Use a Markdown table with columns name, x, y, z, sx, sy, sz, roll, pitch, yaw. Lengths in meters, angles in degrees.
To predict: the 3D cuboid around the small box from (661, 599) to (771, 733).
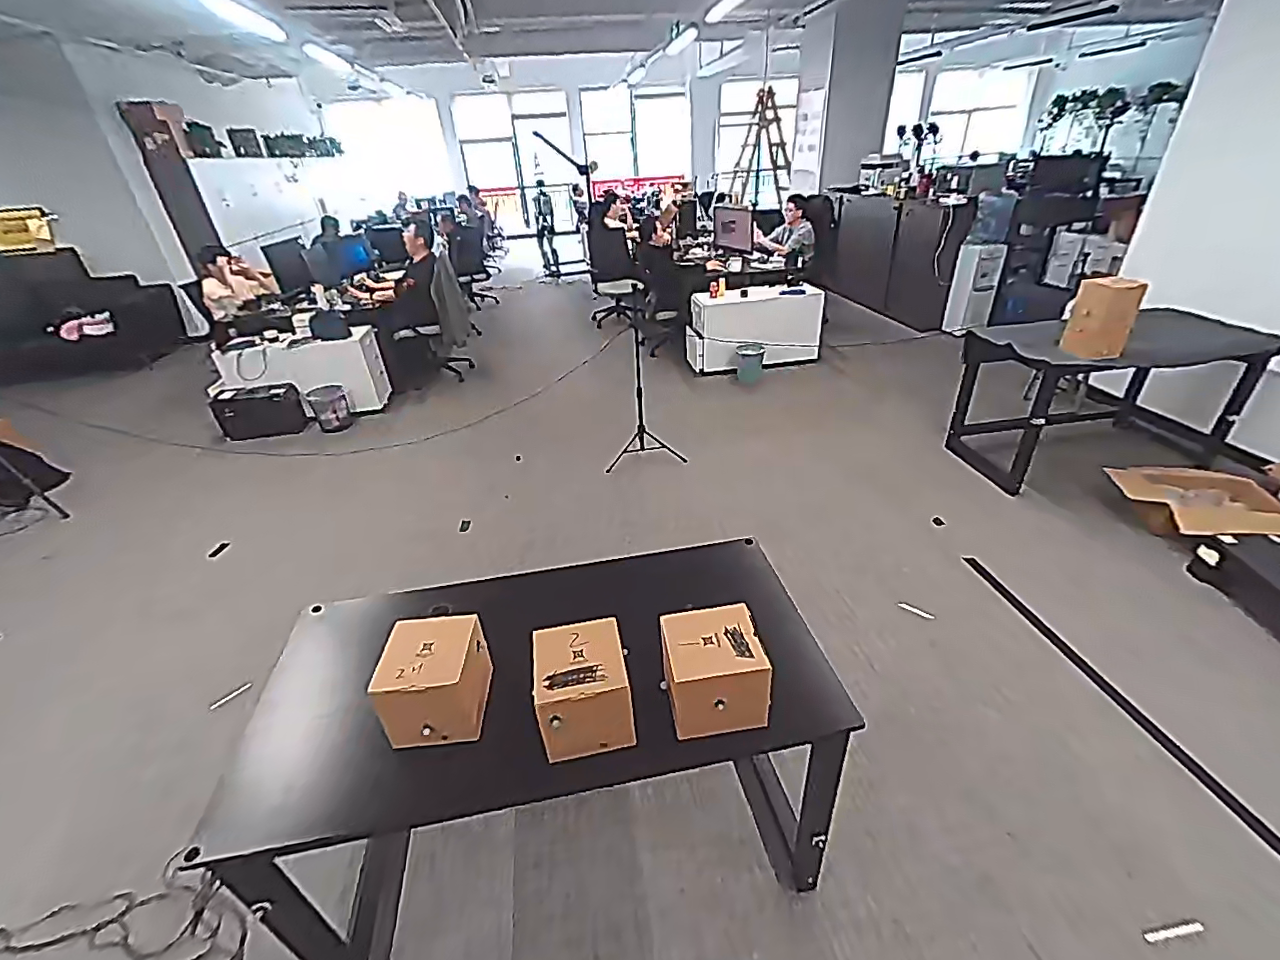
| name | x | y | z | sx | sy | sz | roll | pitch | yaw |
| --- | --- | --- | --- | --- | --- | --- | --- | --- | --- |
| small box | 0.140 | 0.360 | 1.049 | 0.179 | 0.176 | 0.168 | -8 | 31 | -4 |

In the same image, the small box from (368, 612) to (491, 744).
| name | x | y | z | sx | sy | sz | roll | pitch | yaw |
| --- | --- | --- | --- | --- | --- | --- | --- | --- | --- |
| small box | -0.402 | 0.389 | 1.070 | 0.168 | 0.176 | 0.179 | -6 | 32 | -1 |
